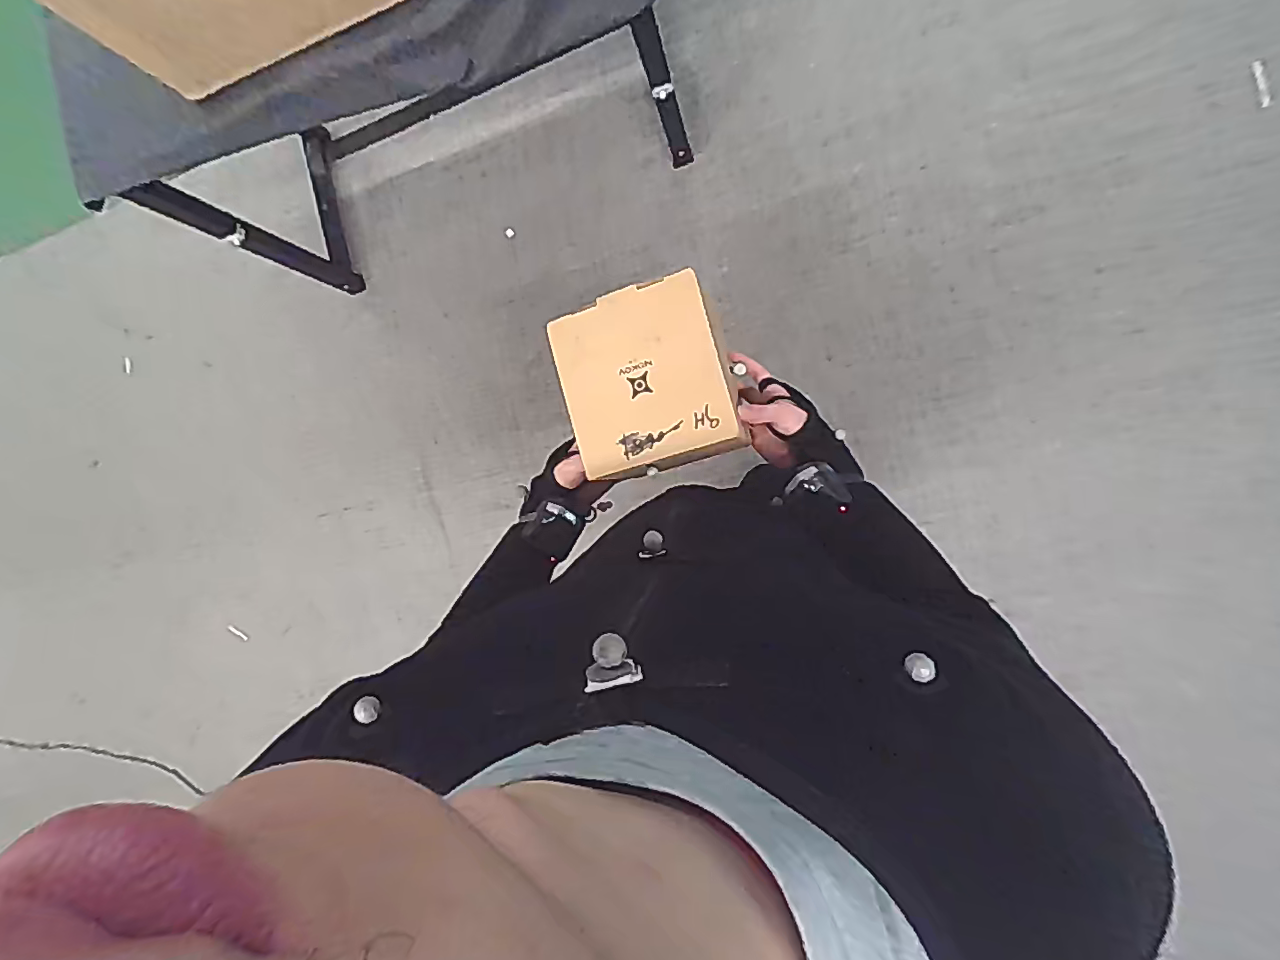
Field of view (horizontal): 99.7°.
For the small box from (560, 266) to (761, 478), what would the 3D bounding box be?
[{"bbox_3d":[0.033,-0.106,0.618,0.168,0.176,0.179,-17,85,16],"label":"small box"}]
